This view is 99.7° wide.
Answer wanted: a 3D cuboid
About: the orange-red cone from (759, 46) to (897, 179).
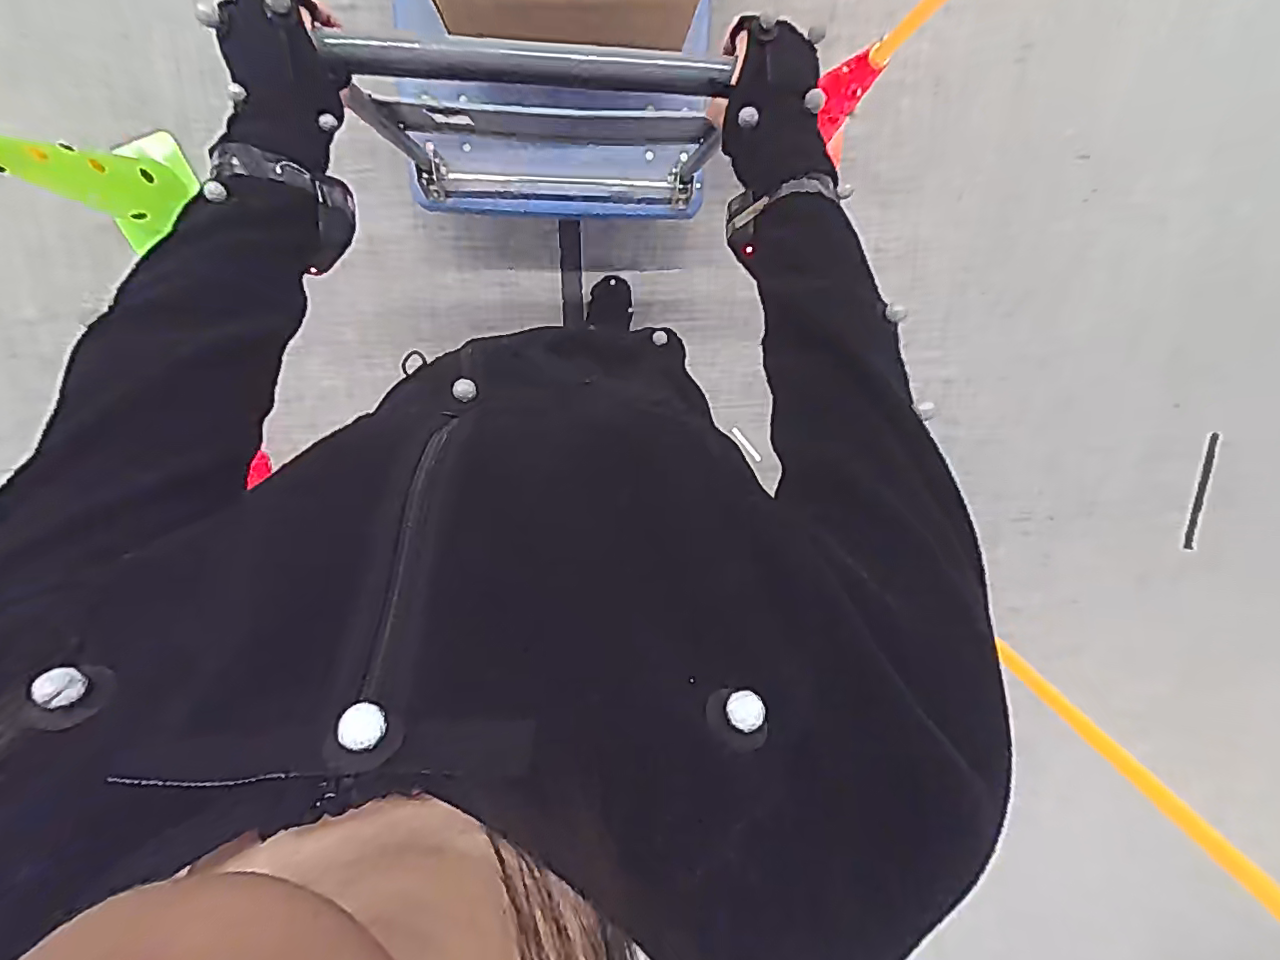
[{"bbox_3d":[0.395,-0.753,1.065,0.199,0.360,0.198,3,106,-8],"label":"orange-red cone"}]
